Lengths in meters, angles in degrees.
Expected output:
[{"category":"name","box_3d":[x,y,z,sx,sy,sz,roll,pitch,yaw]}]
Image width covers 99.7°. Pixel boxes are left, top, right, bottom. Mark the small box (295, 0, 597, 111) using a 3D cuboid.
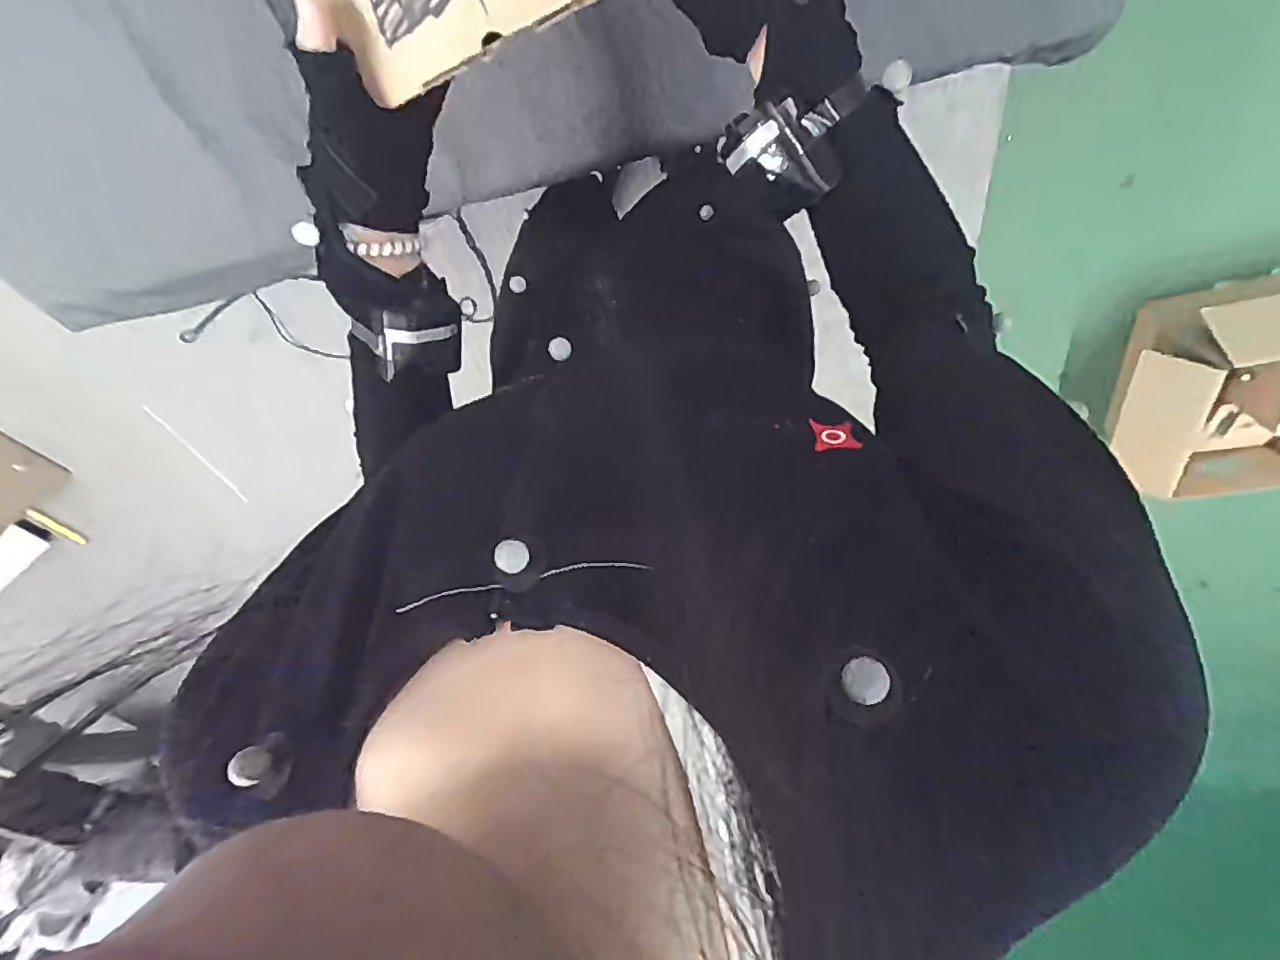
[{"category":"small box","box_3d":[-0.104,-0.338,0.266,0.168,0.176,0.179,-11,143,22]}]
